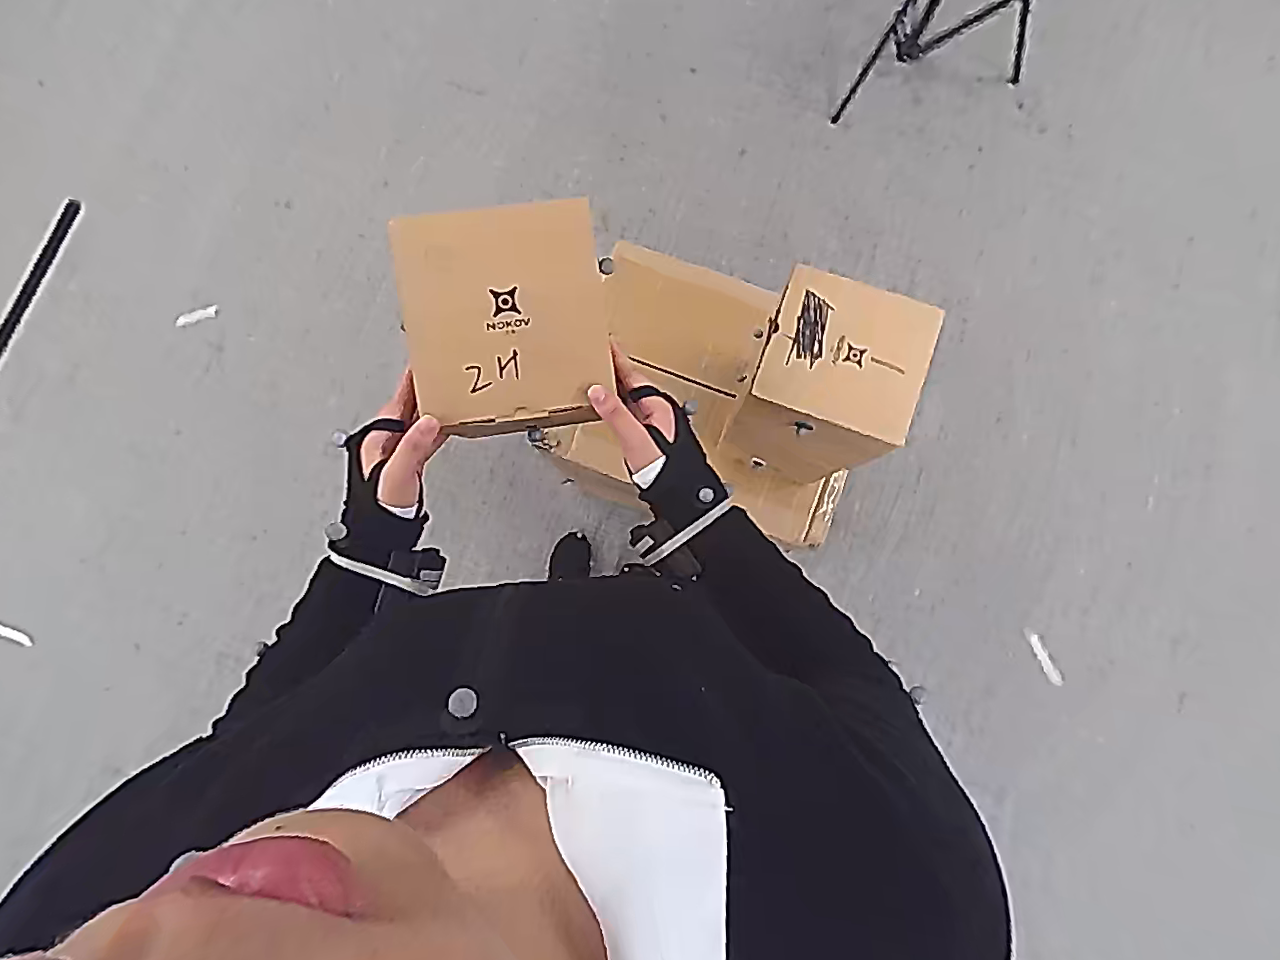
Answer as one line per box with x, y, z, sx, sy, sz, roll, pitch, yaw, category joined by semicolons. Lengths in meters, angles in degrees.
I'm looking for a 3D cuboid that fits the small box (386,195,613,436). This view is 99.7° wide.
-0.123;-0.144;0.529;0.168;0.176;0.179;-9;92;-5;small box

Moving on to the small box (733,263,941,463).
0.228;-0.132;0.675;0.179;0.176;0.168;20;83;5;small box

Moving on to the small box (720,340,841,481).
0.231;-0.111;0.838;0.168;0.176;0.179;20;84;5;small box
